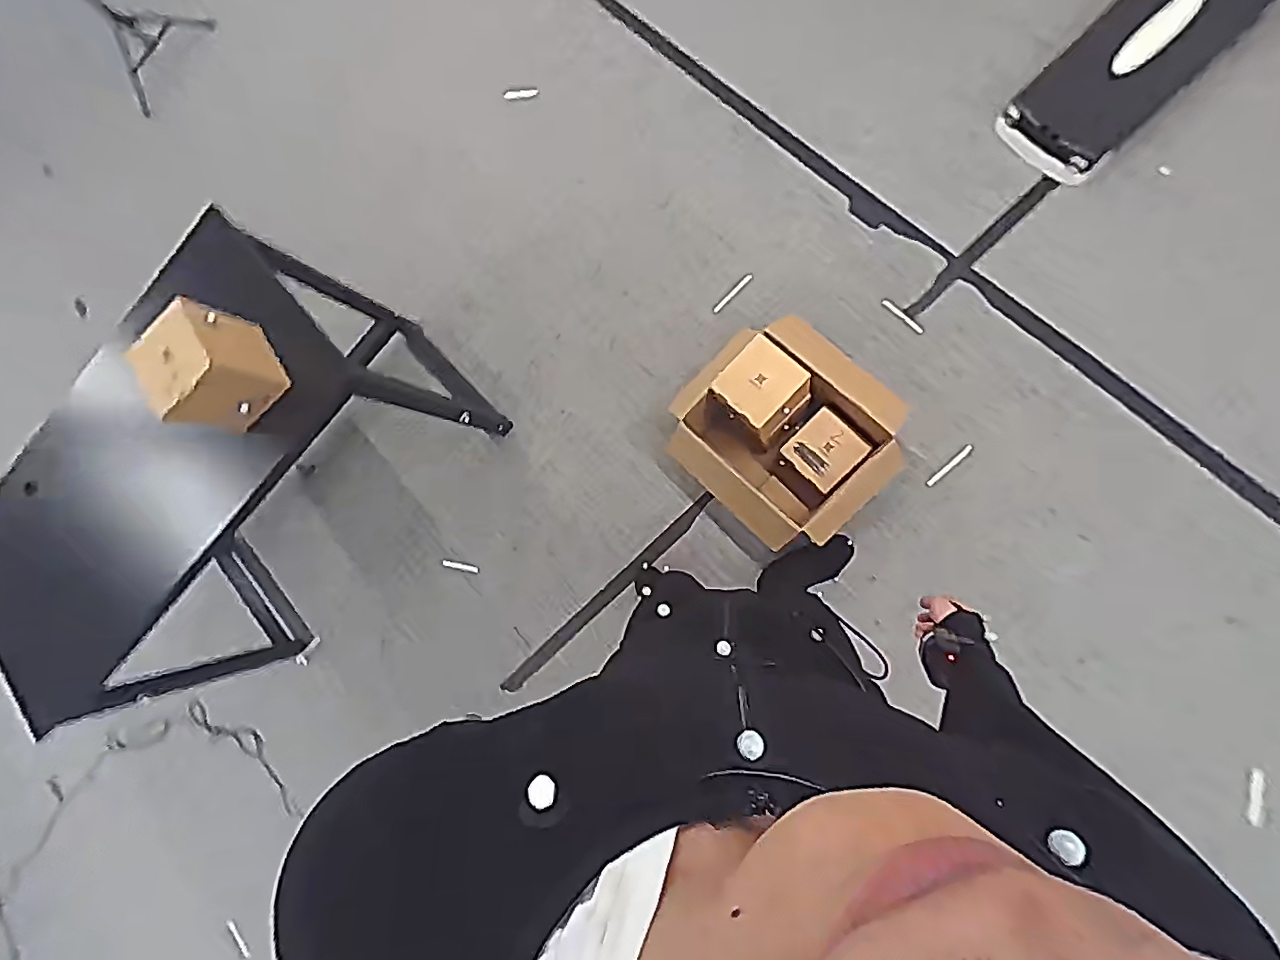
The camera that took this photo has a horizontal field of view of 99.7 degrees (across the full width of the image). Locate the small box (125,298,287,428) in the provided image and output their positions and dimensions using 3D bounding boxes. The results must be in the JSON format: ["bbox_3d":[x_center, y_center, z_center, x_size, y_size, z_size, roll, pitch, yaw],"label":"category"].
[{"bbox_3d":[-0.877,-0.227,1.104,0.168,0.176,0.179,-38,78,10],"label":"small box"}]
